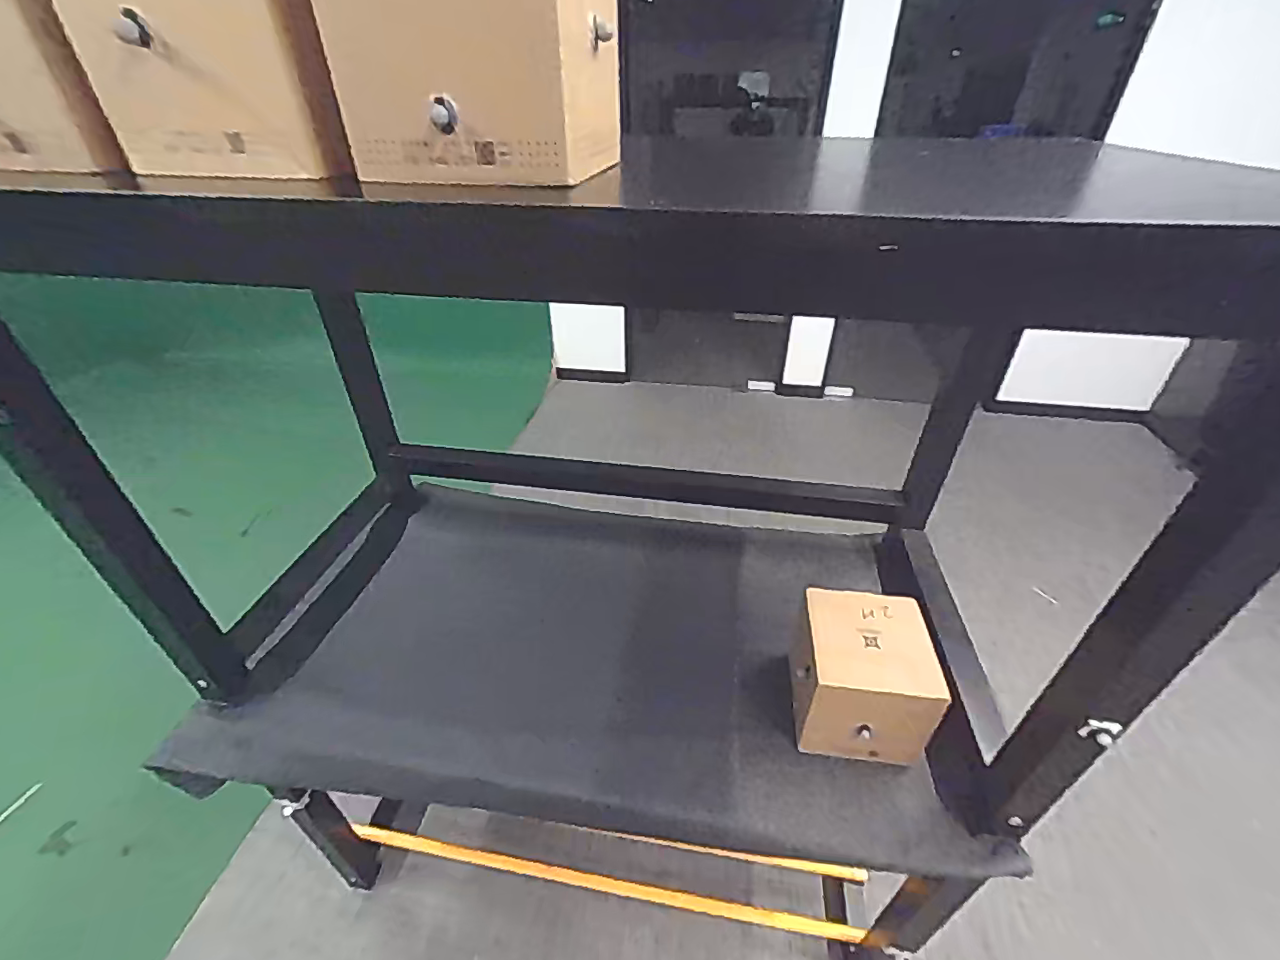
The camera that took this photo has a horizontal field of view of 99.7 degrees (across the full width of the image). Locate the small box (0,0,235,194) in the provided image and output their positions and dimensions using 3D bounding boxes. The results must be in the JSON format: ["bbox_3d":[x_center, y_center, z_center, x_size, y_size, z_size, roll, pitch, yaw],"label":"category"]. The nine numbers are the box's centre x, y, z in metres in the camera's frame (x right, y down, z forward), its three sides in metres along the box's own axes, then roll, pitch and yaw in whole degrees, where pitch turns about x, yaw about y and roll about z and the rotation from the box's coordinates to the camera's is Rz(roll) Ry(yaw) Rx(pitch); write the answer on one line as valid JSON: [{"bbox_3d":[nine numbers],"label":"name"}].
[{"bbox_3d":[-0.507,-0.363,0.476,0.168,0.176,0.179,5,37,7],"label":"small box"}]

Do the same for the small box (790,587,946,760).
[{"bbox_3d":[0.325,0.288,0.810,0.168,0.176,0.179,4,35,7],"label":"small box"}]
